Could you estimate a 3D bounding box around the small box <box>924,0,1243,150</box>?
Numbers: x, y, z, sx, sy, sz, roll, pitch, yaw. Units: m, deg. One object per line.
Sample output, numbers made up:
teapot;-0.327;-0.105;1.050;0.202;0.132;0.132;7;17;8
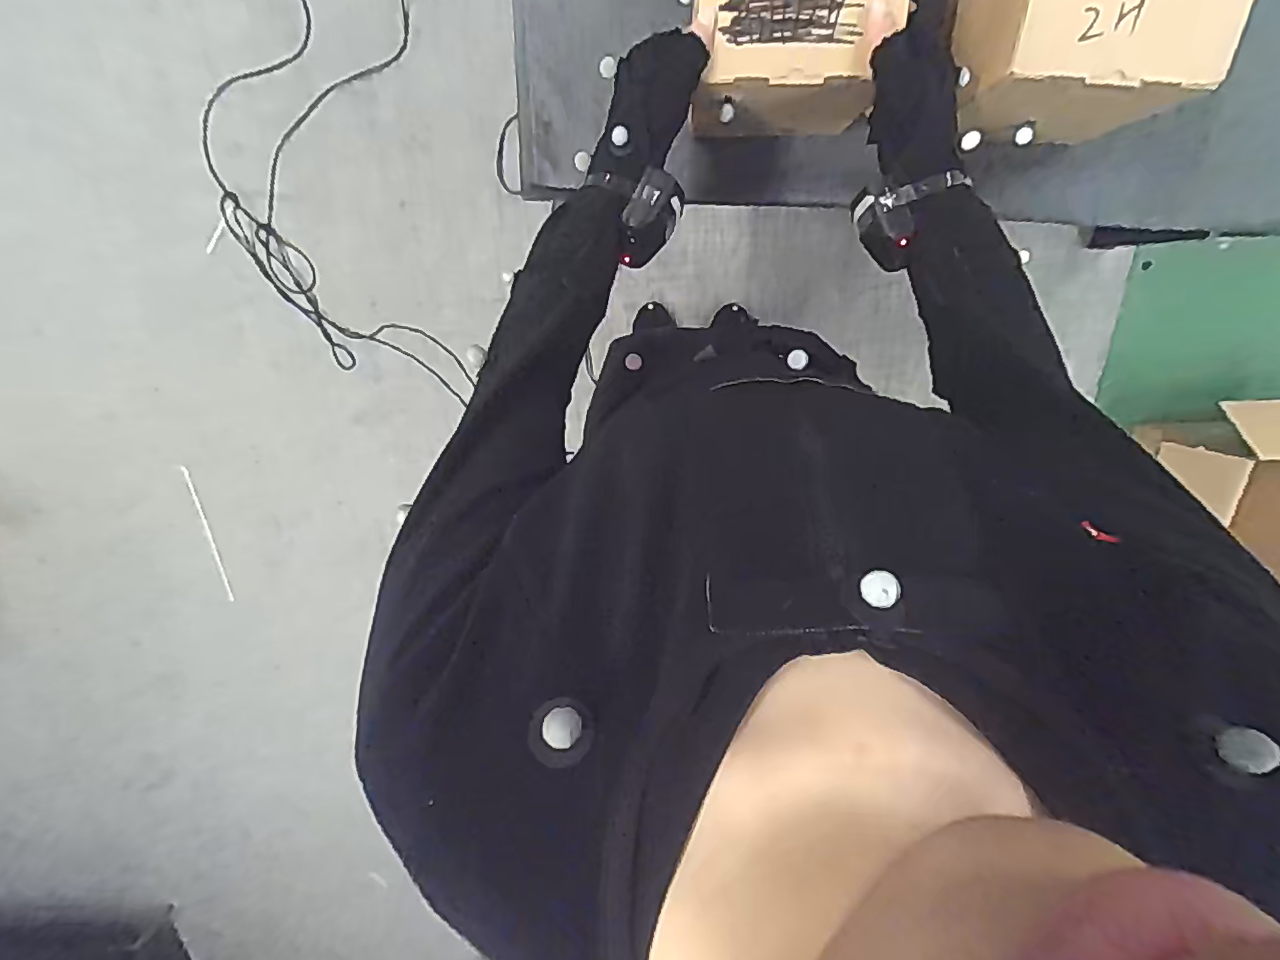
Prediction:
small box;0.385;-0.421;0.483;0.168;0.176;0.179;5;109;2
